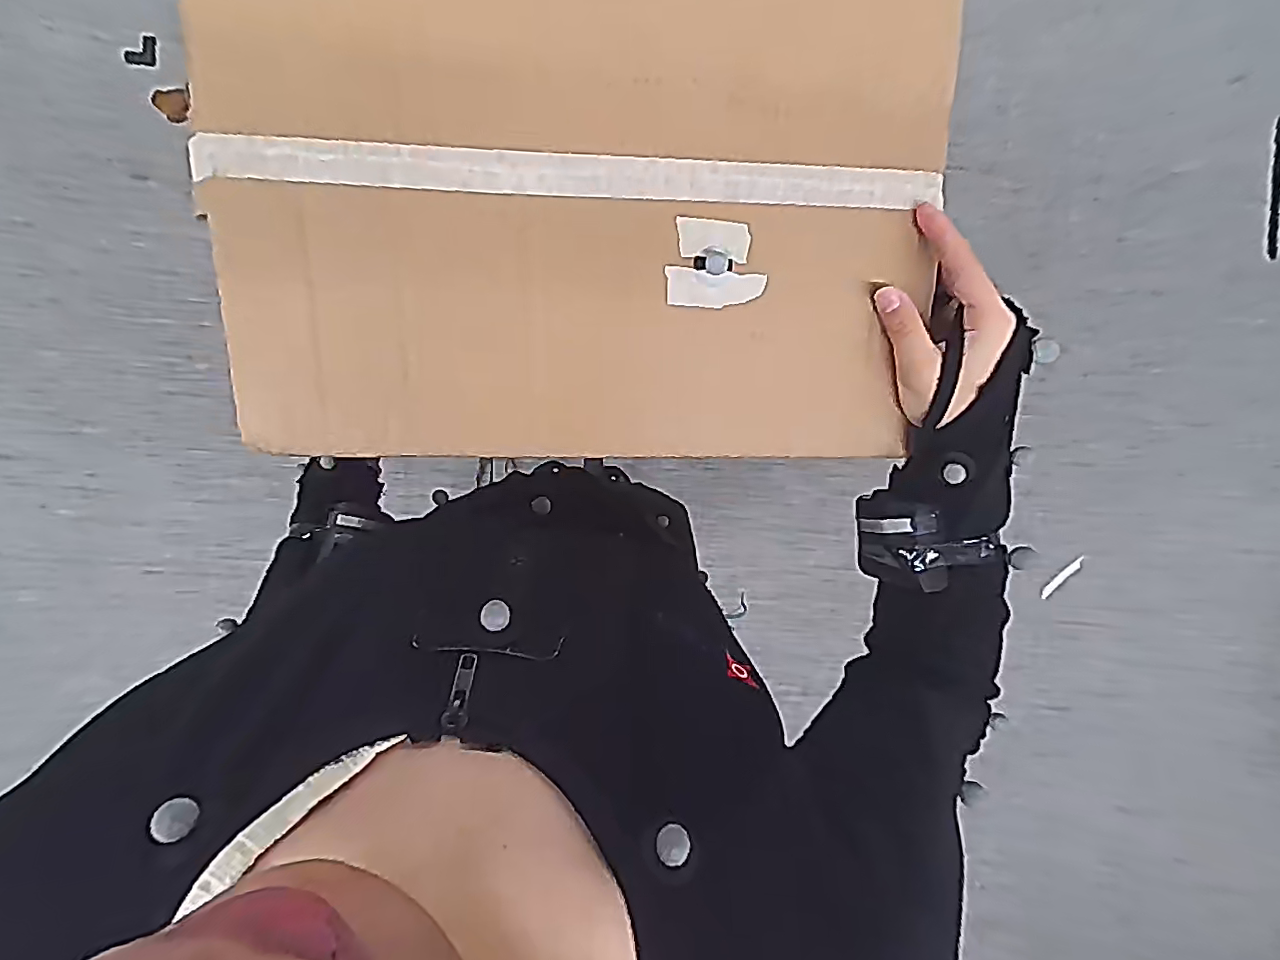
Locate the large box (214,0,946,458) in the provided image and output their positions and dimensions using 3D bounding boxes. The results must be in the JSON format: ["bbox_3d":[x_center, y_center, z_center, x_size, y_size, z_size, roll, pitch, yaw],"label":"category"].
[{"bbox_3d":[-0.039,-0.197,0.457,0.408,0.320,0.320,-1,102,-7],"label":"large box"}]
